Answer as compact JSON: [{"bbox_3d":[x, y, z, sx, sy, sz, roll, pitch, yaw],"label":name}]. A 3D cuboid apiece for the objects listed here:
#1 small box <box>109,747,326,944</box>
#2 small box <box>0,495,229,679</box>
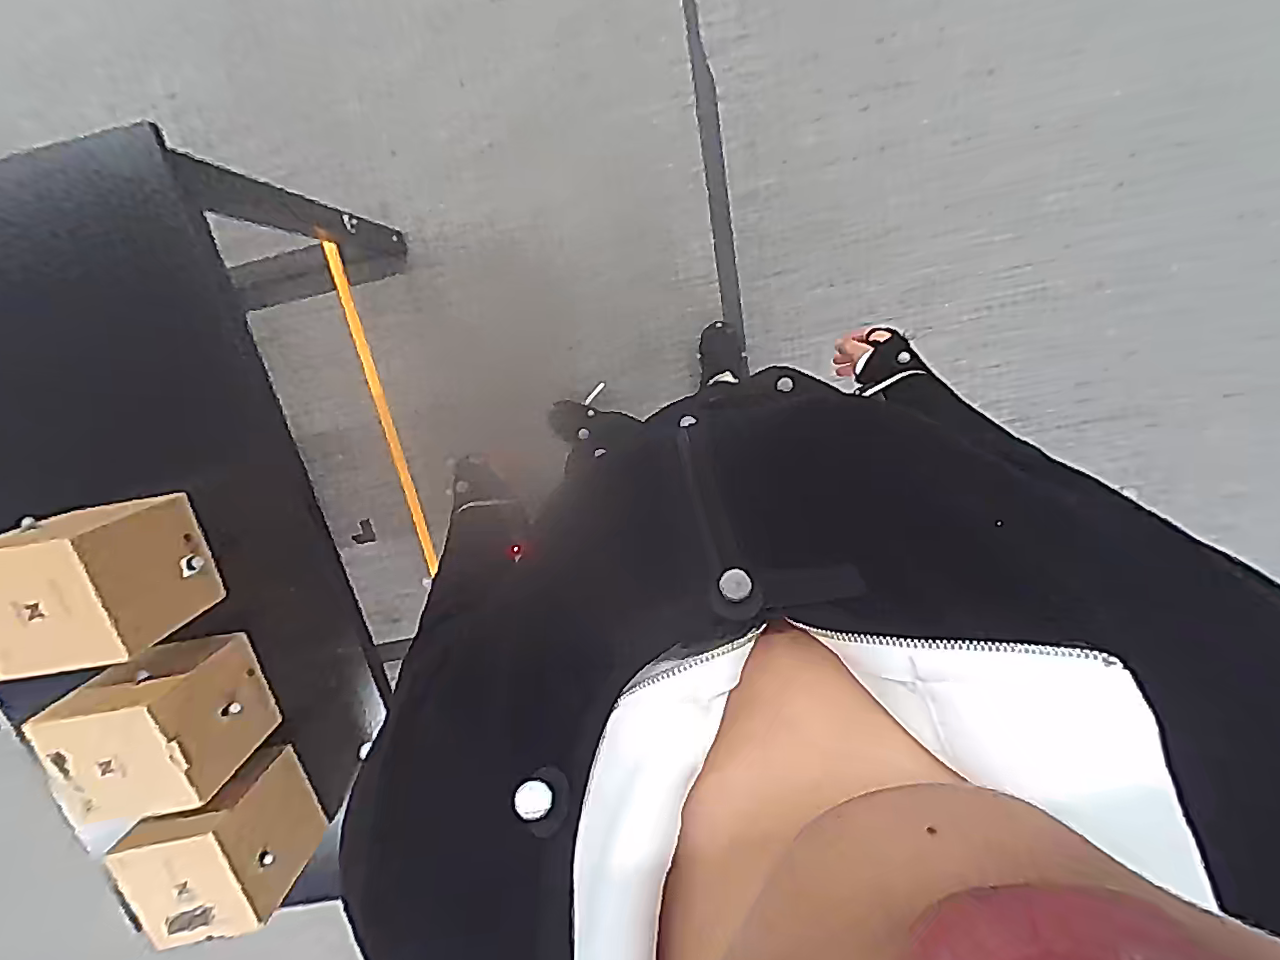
[{"bbox_3d":[-0.626,0.550,0.830,0.168,0.176,0.179,-13,104,4],"label":"small box"},{"bbox_3d":[-0.709,0.132,0.717,0.179,0.176,0.168,-11,107,2],"label":"small box"}]
